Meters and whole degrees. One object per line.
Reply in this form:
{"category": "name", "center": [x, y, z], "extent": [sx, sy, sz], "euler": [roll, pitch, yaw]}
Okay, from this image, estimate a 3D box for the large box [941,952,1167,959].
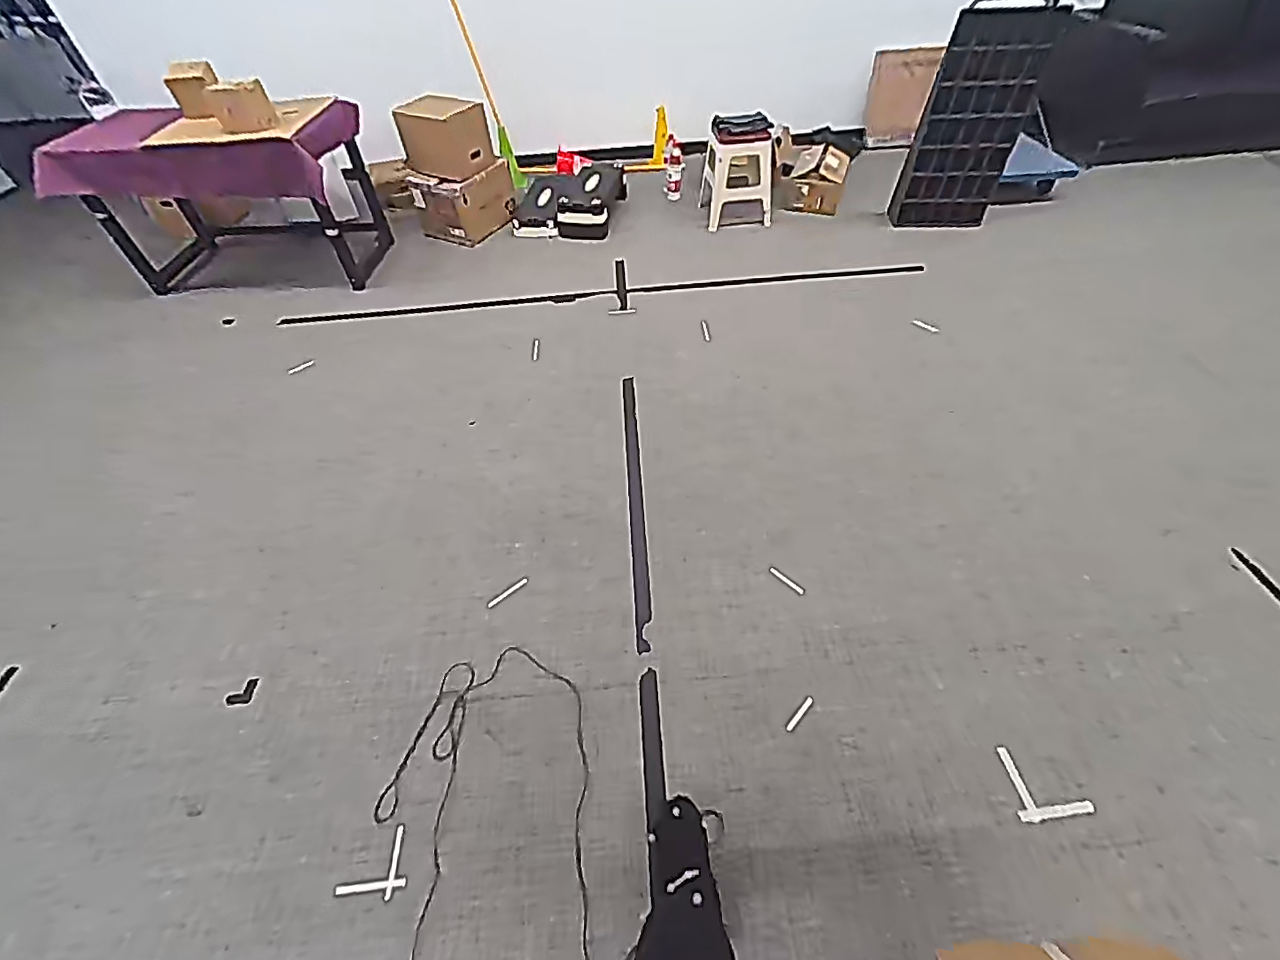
{"category": "large box", "center": [0.576, 0.784, 0.549], "extent": [0.320, 0.408, 0.320], "euler": [-7, 77, 4]}
